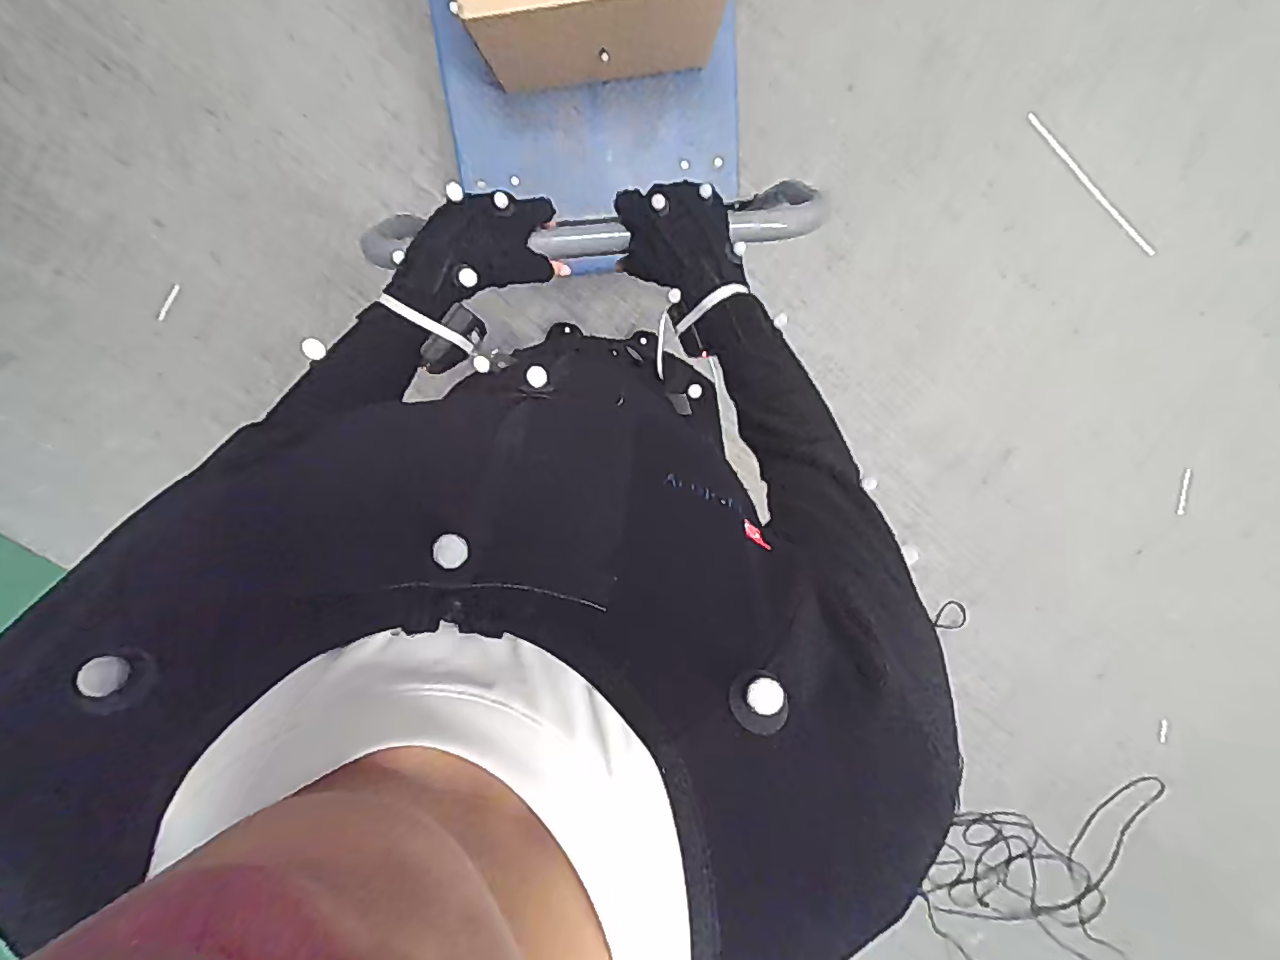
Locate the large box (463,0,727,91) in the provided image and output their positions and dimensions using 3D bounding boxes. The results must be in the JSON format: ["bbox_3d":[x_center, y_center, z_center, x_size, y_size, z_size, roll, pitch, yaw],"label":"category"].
[{"bbox_3d":[-0.079,-0.888,0.874,0.408,0.320,0.320,-8,108,2],"label":"large box"}]
